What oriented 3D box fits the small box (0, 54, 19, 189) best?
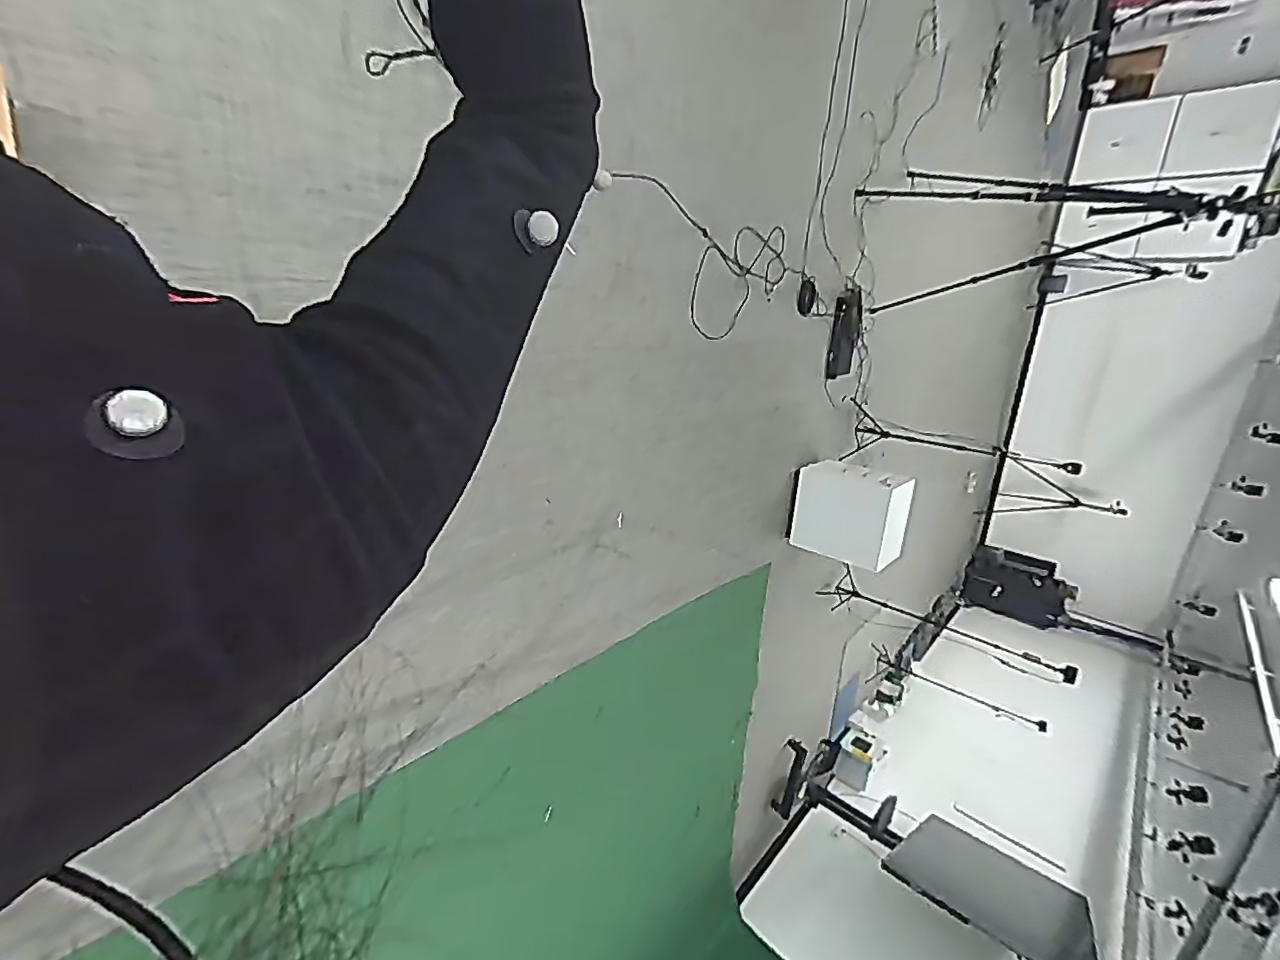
[{"bbox_3d":[-1.065,-0.559,0.807,0.168,0.176,0.179,-8,110,-46],"label":"small box"}]
